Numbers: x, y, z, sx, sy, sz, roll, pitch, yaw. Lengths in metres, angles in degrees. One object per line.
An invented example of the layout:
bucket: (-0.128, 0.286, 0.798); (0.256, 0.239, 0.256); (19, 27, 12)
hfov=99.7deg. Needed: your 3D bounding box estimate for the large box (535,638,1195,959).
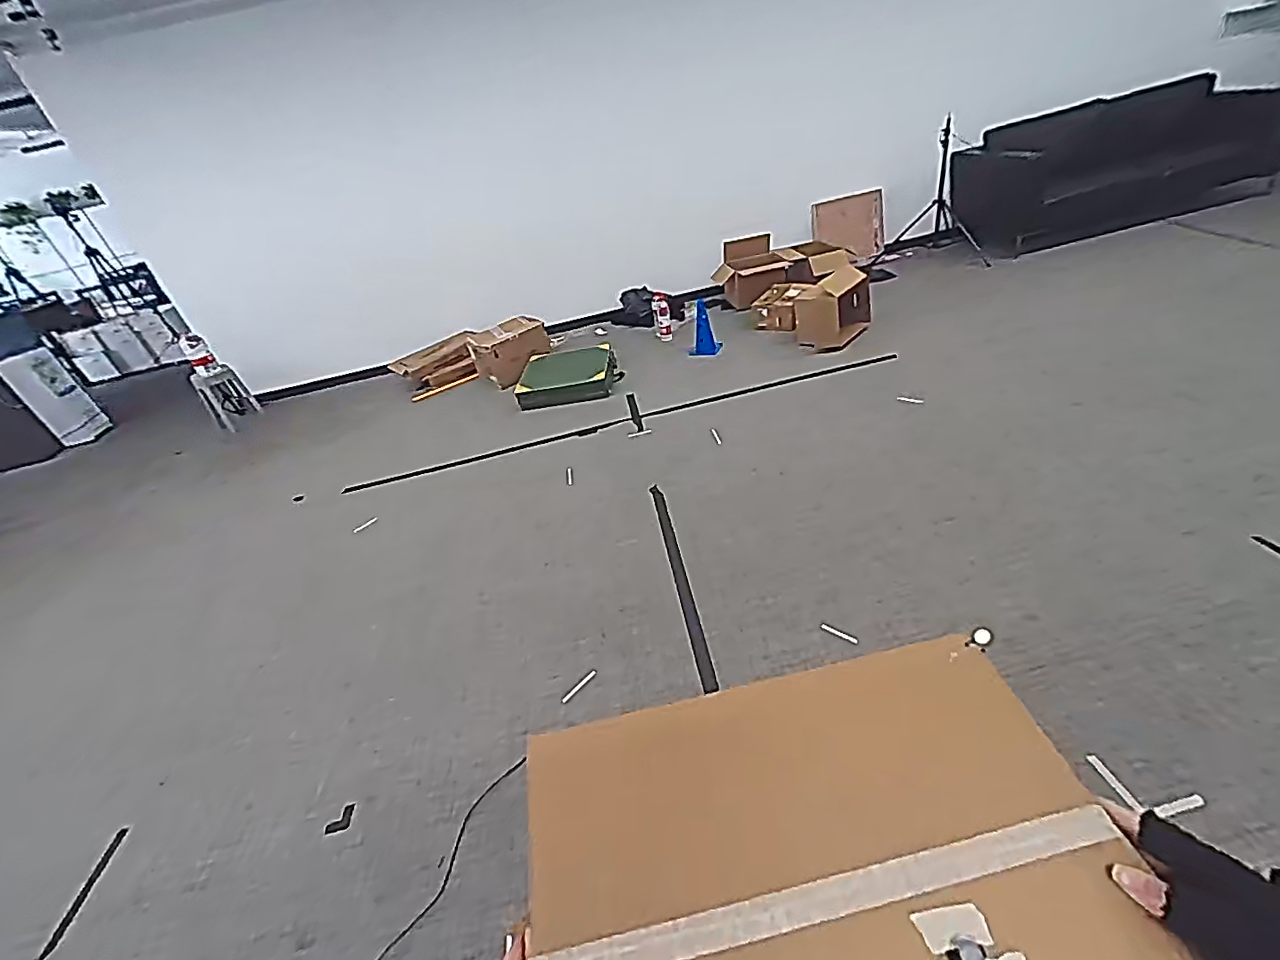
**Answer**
large box: (0.146, 0.397, 0.473); (0.408, 0.320, 0.320); (-12, 42, -4)
